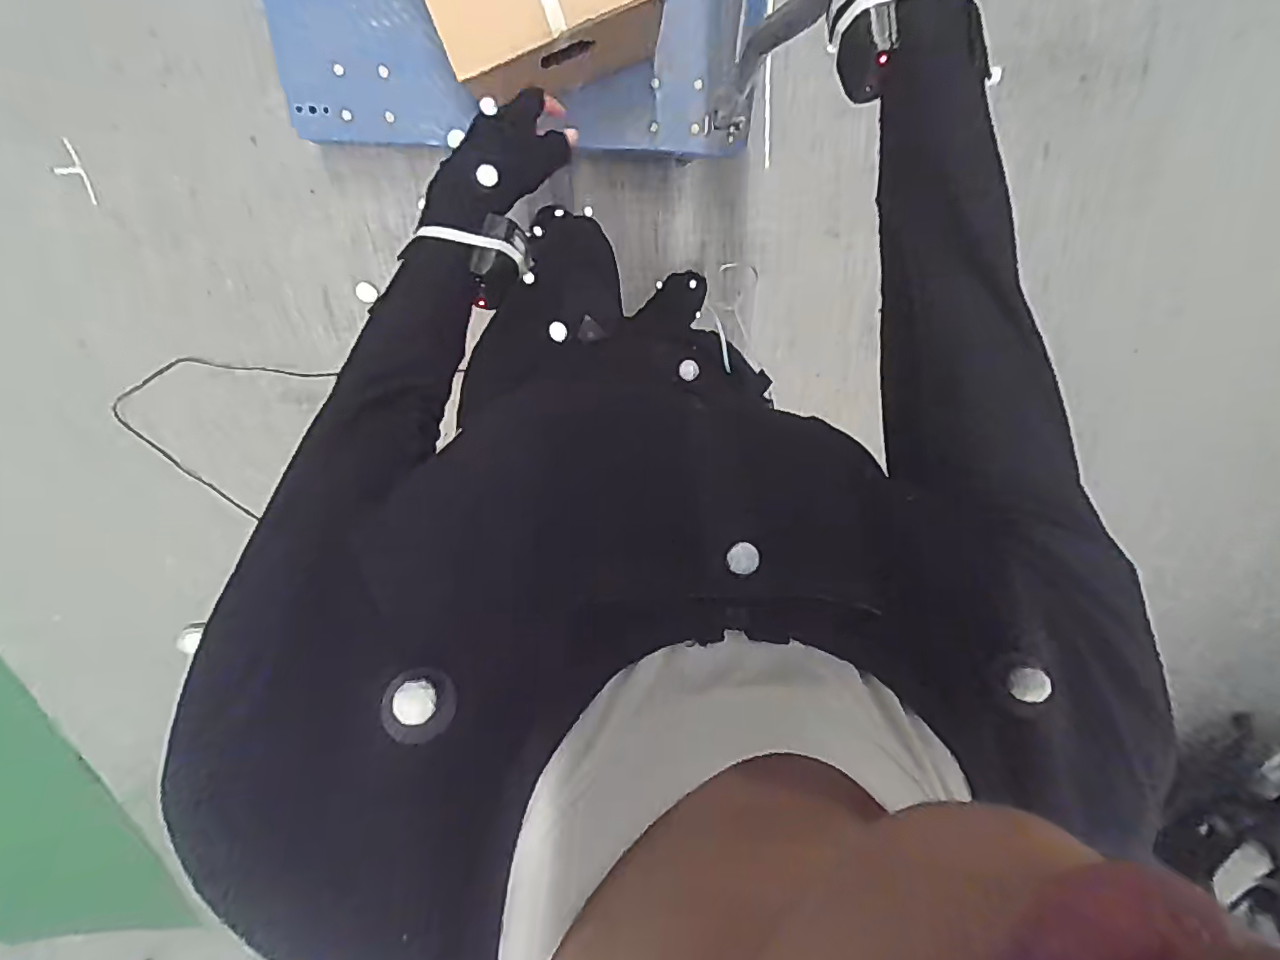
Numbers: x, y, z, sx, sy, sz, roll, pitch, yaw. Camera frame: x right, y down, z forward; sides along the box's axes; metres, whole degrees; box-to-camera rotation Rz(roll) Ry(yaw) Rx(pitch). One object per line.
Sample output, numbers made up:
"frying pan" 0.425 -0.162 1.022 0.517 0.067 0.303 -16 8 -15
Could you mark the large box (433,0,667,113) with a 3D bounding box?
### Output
"large box" -0.176 -0.844 0.795 0.320 0.320 0.408 -19 115 8
